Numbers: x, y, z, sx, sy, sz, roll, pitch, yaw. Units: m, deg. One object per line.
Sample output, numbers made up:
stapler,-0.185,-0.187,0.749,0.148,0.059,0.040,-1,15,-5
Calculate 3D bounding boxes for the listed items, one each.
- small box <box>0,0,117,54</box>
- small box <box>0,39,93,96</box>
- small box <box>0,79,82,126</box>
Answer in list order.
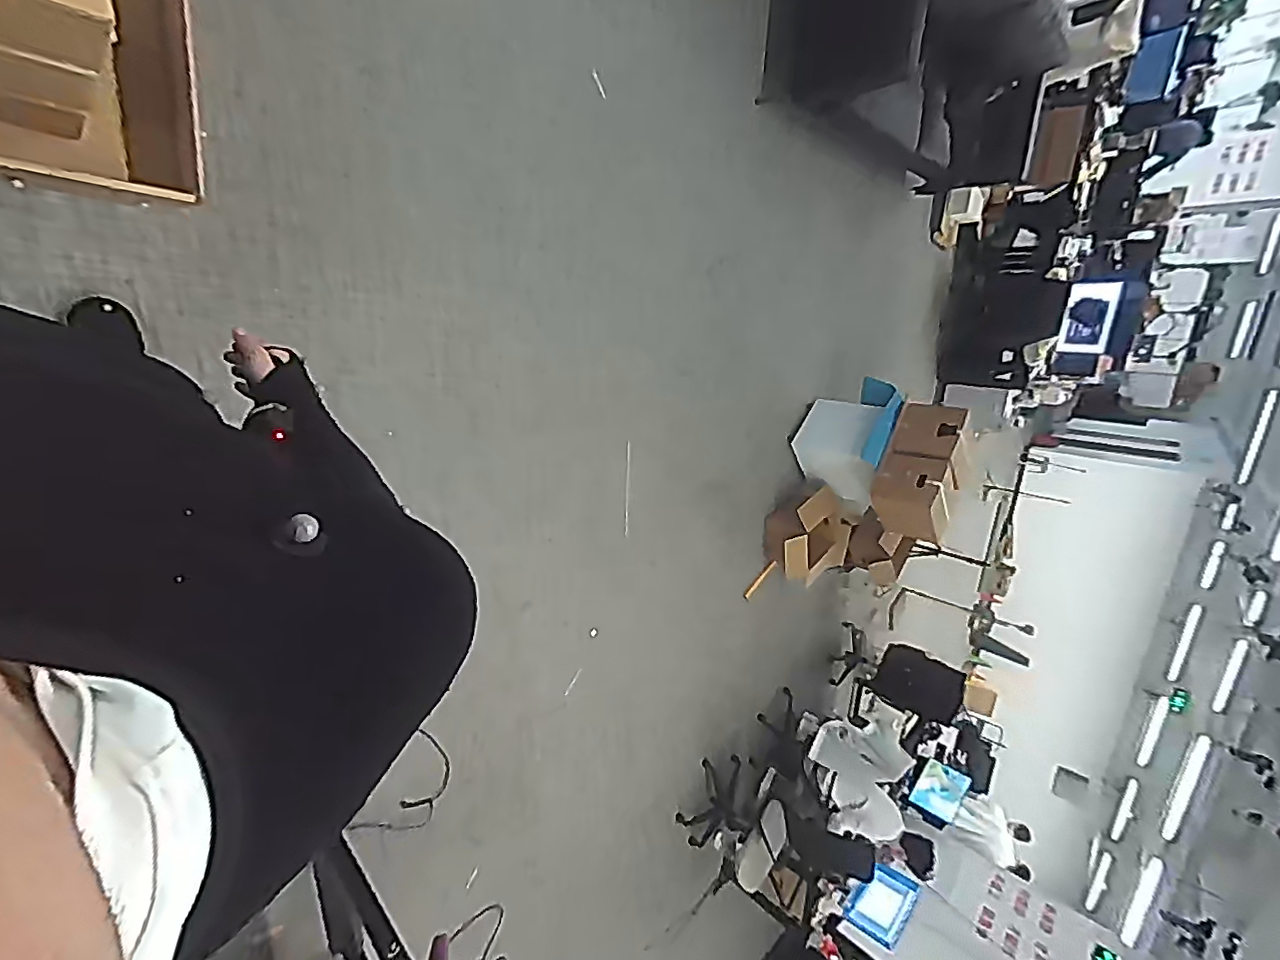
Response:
small box,-0.585,-0.499,0.456,0.179,0.176,0.168,-13,112,-45
small box,-0.706,-0.534,0.563,0.179,0.176,0.168,-11,112,-45
small box,-0.827,-0.569,0.668,0.179,0.176,0.168,-9,109,-48
